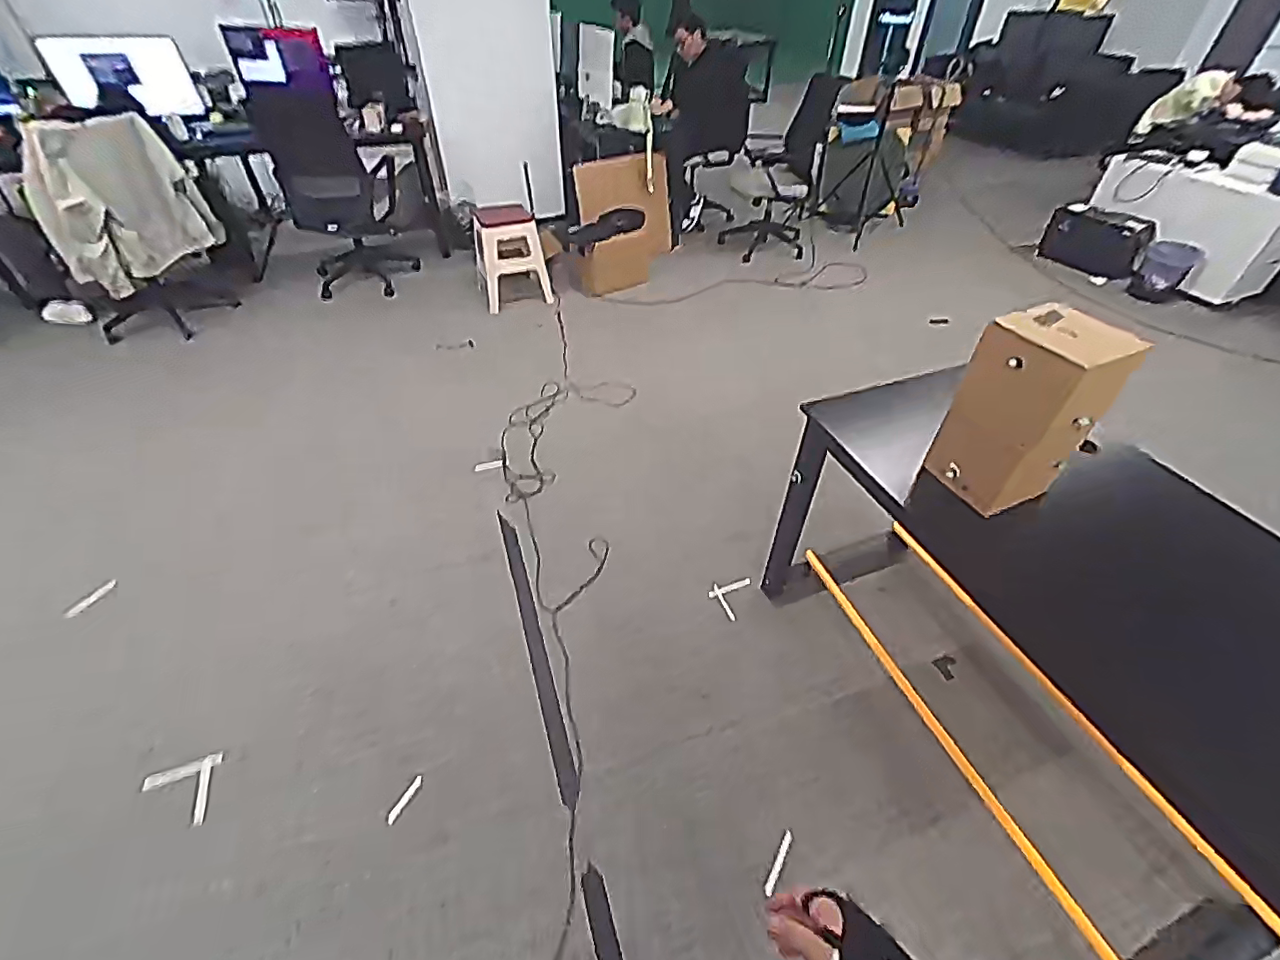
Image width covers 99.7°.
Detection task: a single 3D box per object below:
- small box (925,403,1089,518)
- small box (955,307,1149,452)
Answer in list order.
[{"bbox_3d":[0.700,-0.055,1.054,0.179,0.176,0.168,-18,46,-18],"label":"small box"},{"bbox_3d":[0.698,-0.175,0.941,0.168,0.176,0.179,-18,47,-19],"label":"small box"}]
